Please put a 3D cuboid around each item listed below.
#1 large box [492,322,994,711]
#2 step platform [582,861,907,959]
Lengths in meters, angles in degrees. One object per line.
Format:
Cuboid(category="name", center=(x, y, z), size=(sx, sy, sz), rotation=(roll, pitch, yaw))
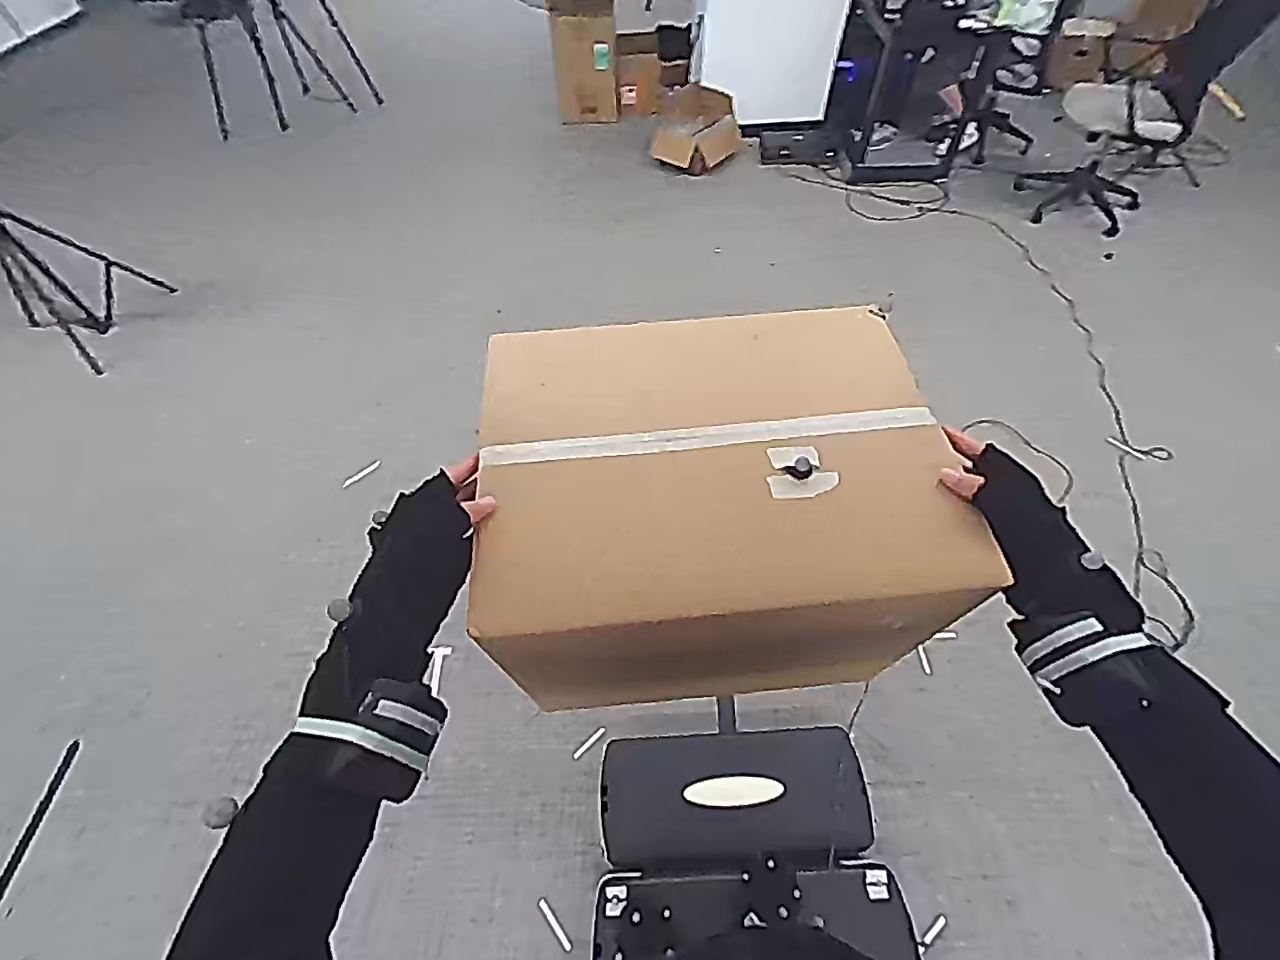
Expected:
Cuboid(category="large box", center=(0.069, 0.055, 0.619), size=(0.408, 0.320, 0.320), rotation=(-5, 58, -2))
Cuboid(category="step platform", center=(0.214, 1.024, 1.178), size=(0.684, 0.204, 0.286), rotation=(-4, 54, 0))
